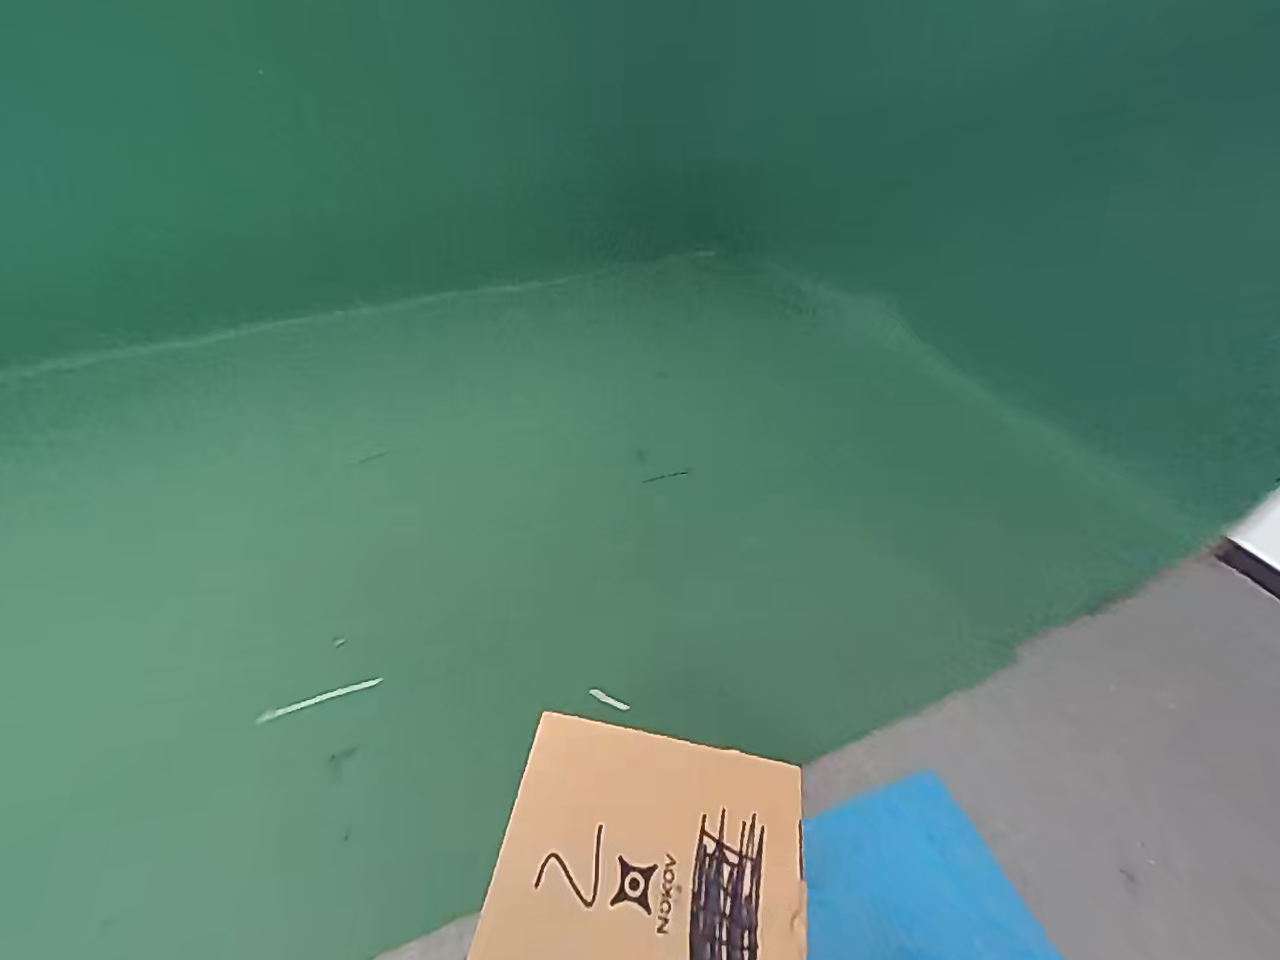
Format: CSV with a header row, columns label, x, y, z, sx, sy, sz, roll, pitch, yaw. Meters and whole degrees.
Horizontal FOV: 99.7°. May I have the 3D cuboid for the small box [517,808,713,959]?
label,x,y,z,sx,sy,sz,roll,pitch,yaw
small box,-0.029,0.494,0.597,0.179,0.176,0.168,12,47,6
